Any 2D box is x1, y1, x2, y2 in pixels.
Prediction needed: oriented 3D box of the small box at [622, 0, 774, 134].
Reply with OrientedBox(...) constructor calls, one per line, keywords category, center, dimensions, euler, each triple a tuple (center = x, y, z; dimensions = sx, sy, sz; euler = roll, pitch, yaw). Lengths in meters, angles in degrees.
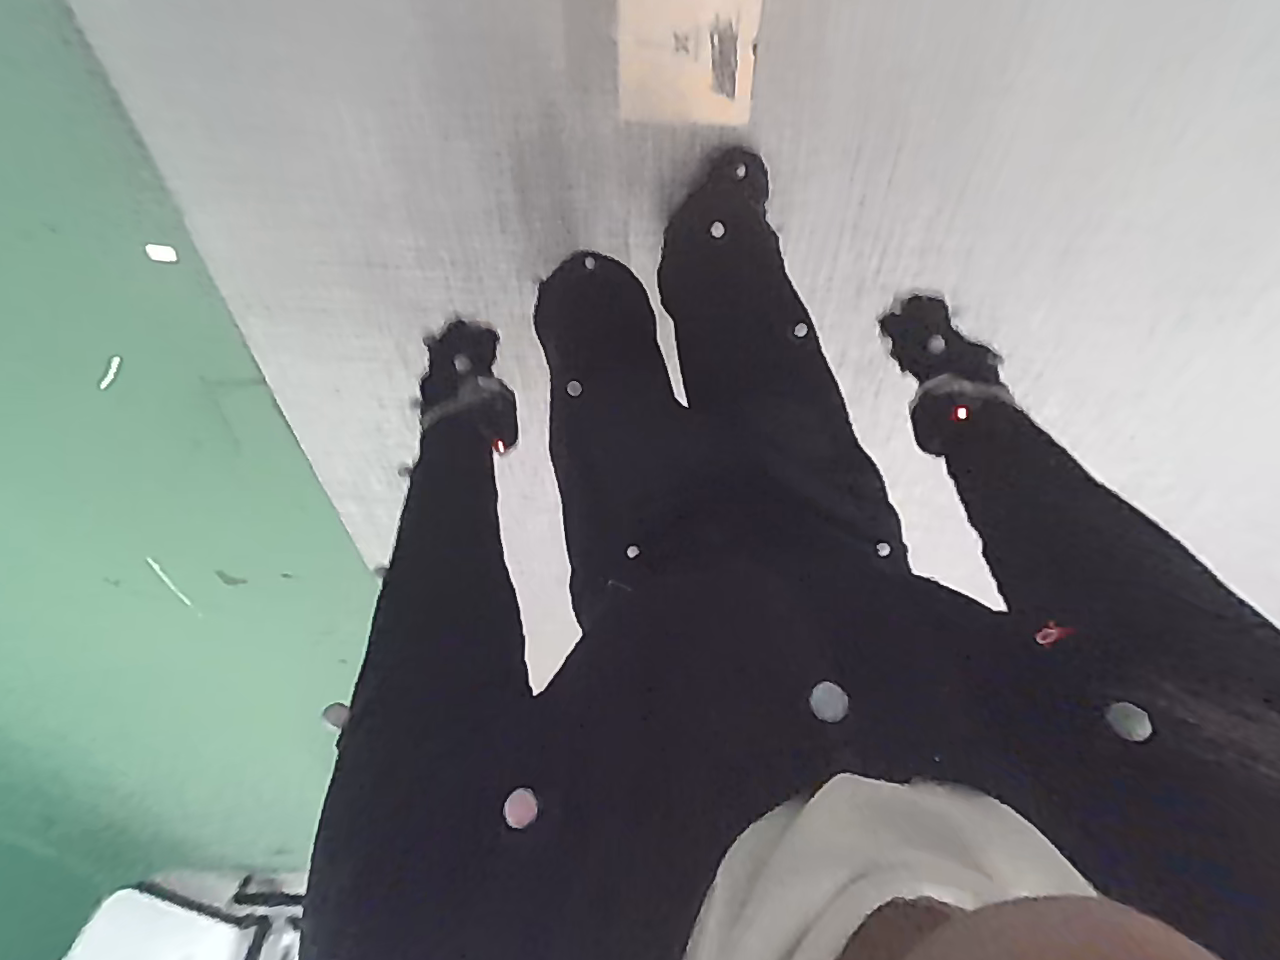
OrientedBox(category="small box", center=(0.071, -0.588, 0.736), dimensions=(0.179, 0.176, 0.168), euler=(5, 130, -1))
